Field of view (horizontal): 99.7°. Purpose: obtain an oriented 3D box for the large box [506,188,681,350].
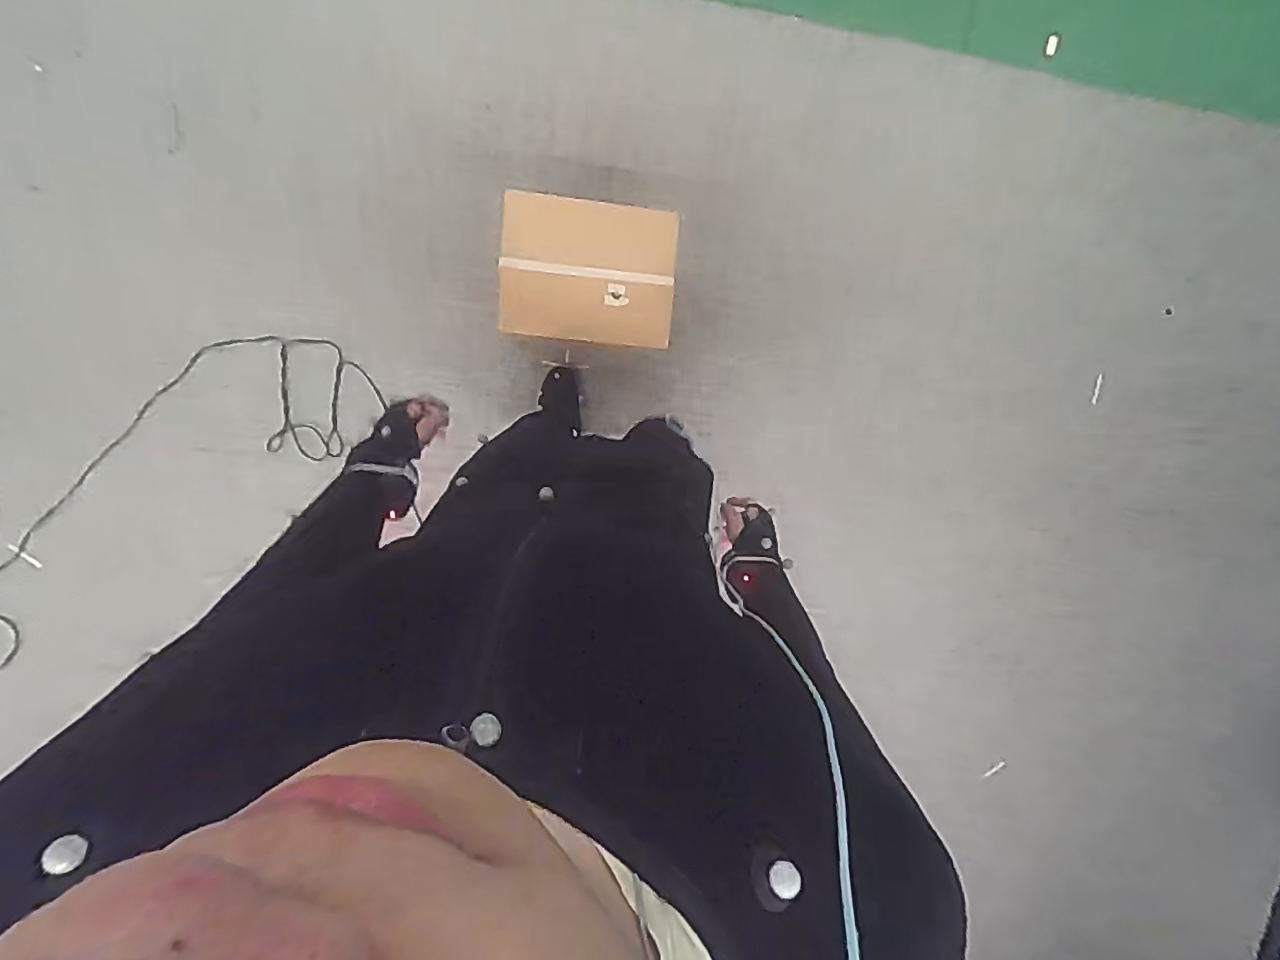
[{"bbox_3d":[-0.129,-0.520,1.404,0.408,0.320,0.320,3,100,-8],"label":"large box"}]
